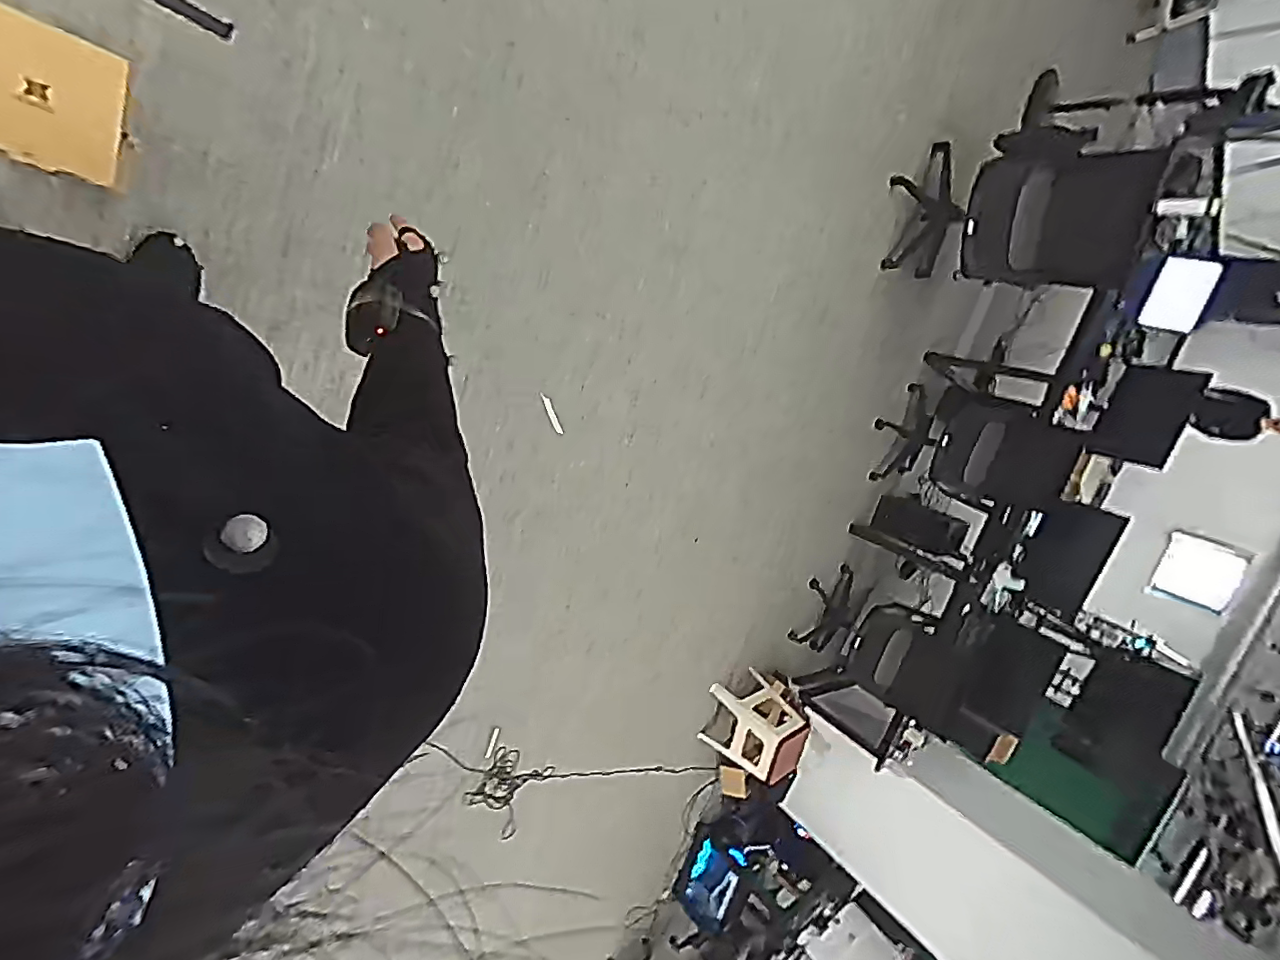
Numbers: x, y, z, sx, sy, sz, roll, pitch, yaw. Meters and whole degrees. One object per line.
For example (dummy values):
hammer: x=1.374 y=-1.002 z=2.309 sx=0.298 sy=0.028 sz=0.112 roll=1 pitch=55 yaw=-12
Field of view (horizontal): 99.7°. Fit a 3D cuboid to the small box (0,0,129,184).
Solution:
small box: x=-0.842 y=-0.542 z=0.760 sx=0.168 sy=0.176 sz=0.179 roll=8 pitch=106 yaw=-44
